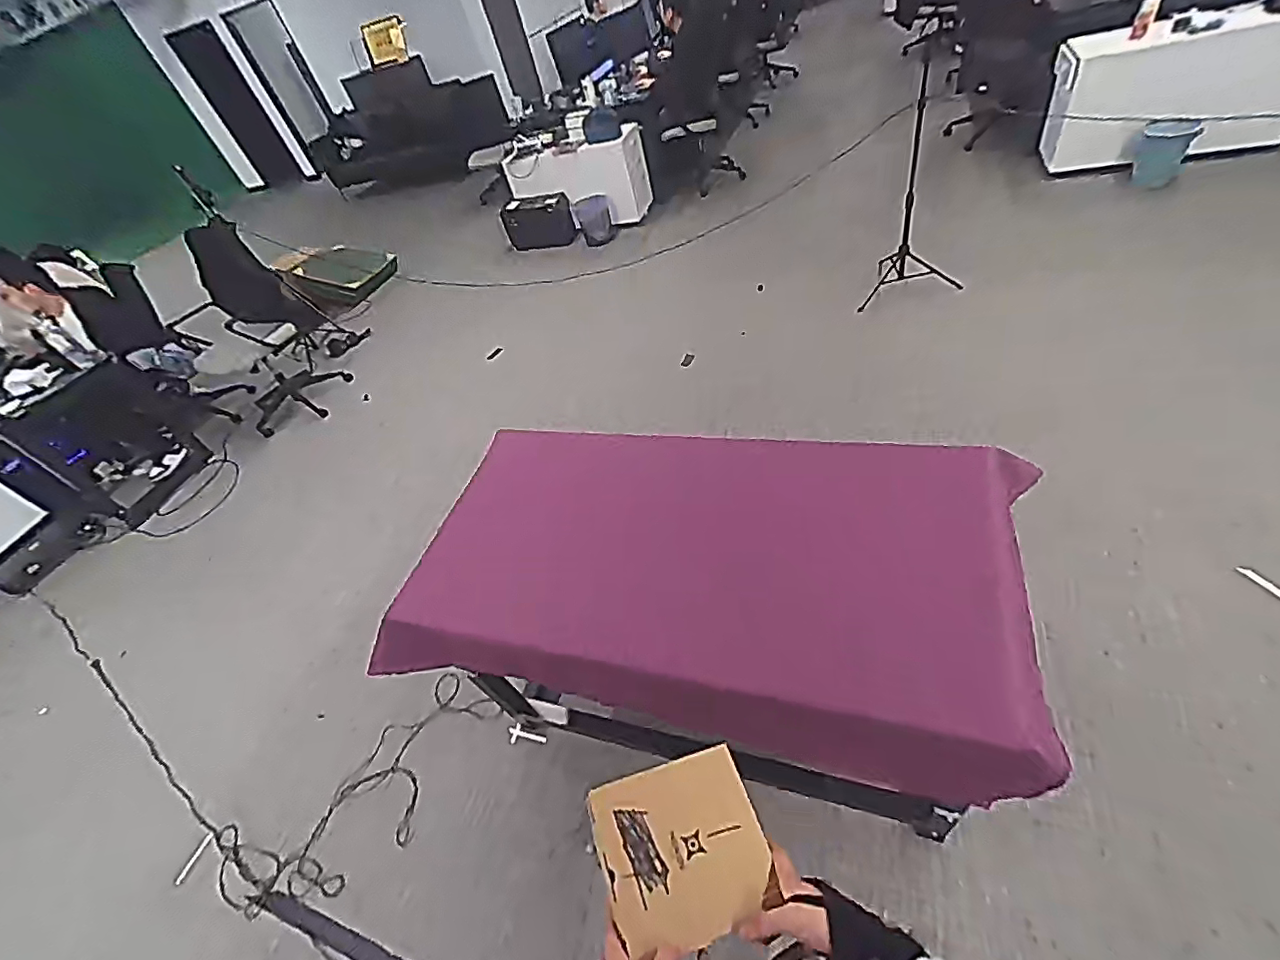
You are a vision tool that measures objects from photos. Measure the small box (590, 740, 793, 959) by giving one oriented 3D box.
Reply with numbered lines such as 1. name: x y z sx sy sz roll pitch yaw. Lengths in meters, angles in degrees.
1. small box: 0.049 0.440 0.635 0.179 0.176 0.168 -13 50 -14
